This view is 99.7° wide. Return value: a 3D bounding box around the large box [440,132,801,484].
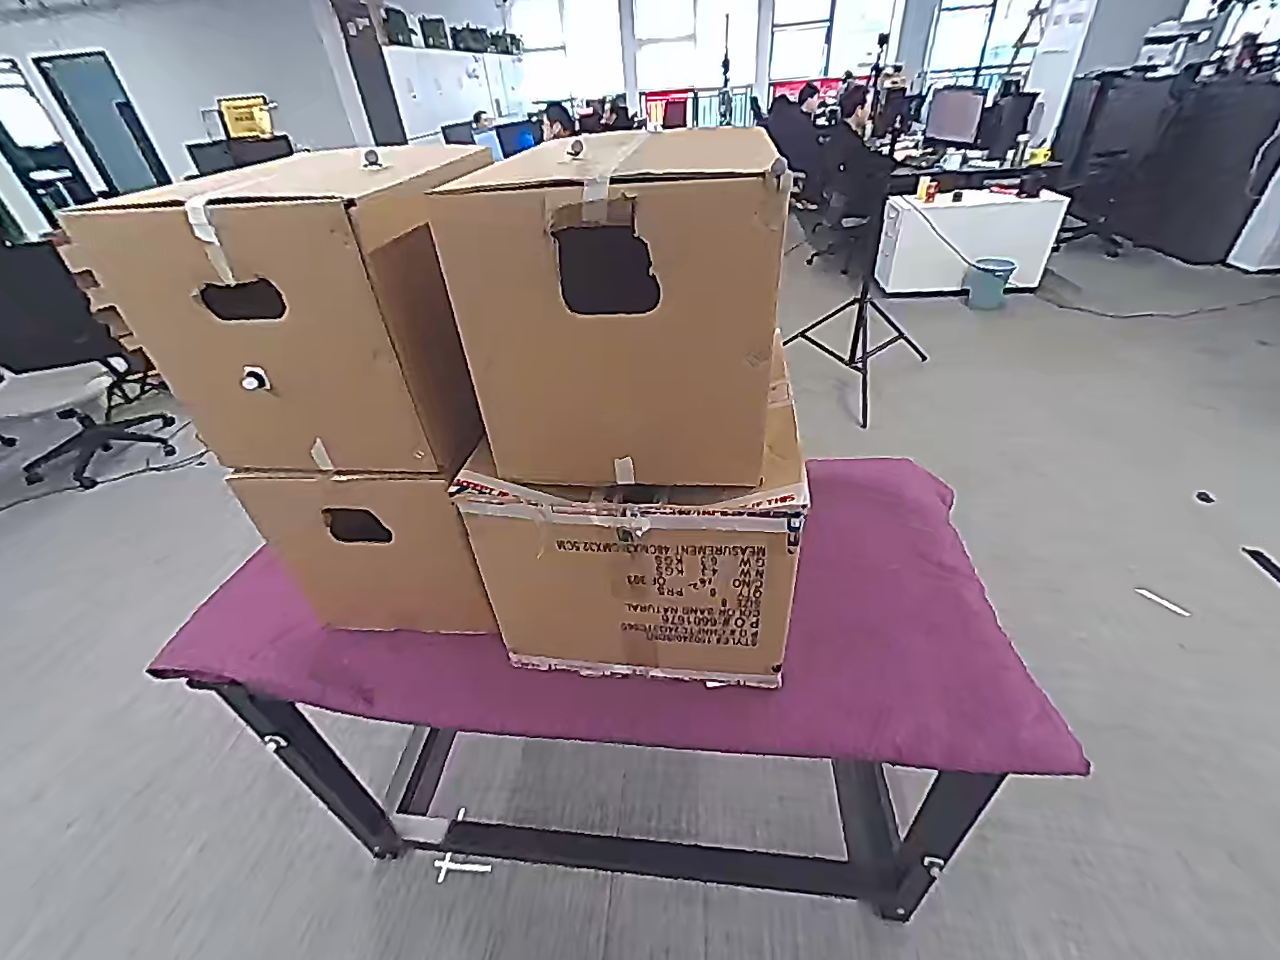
[{"bbox_3d":[0.004,-0.236,0.691,0.320,0.320,0.408,0,37,8],"label":"large box"}]
